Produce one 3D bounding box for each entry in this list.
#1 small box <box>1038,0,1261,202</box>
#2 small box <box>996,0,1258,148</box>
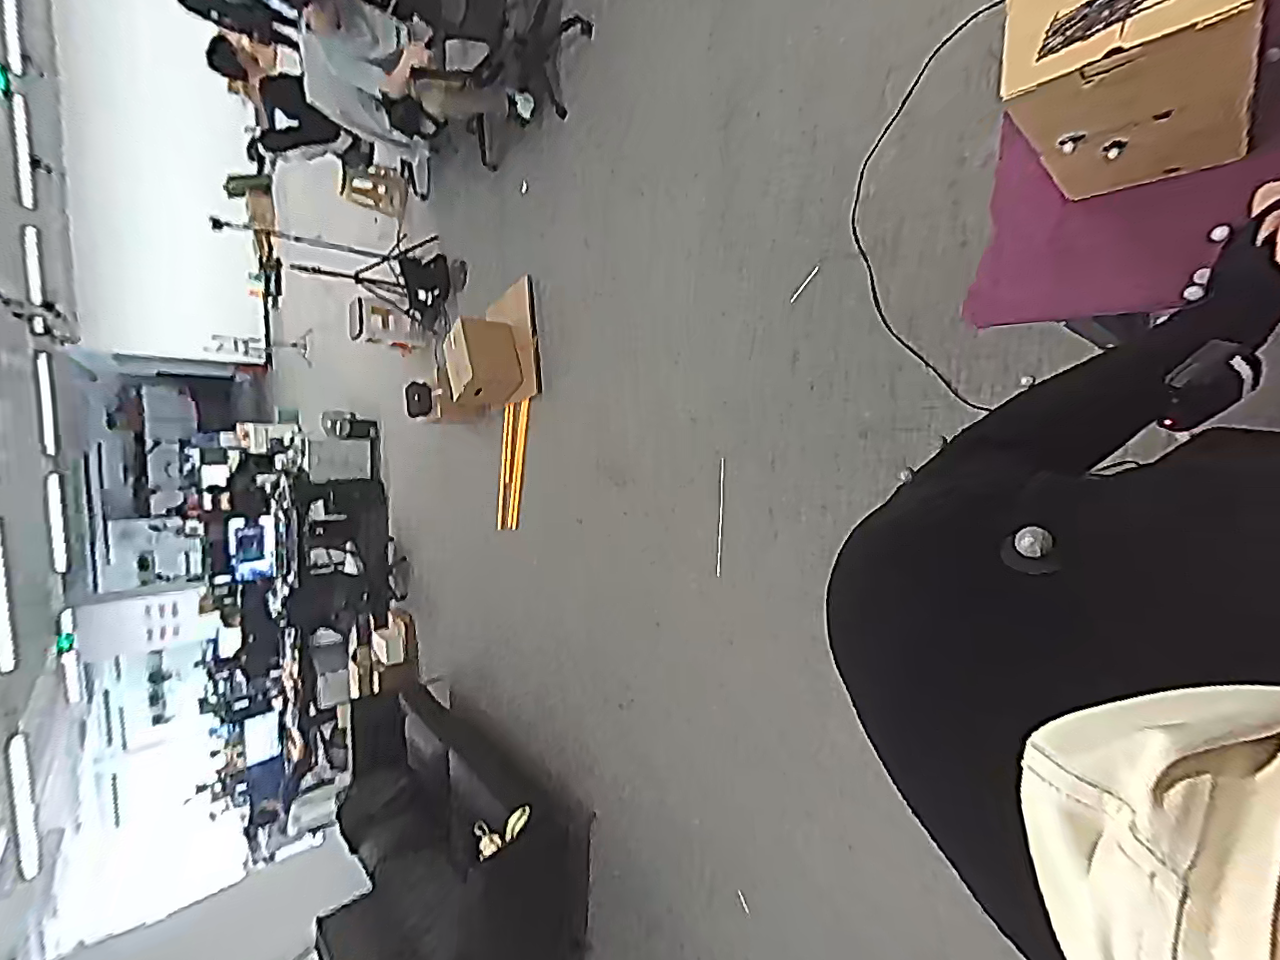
[{"bbox_3d":[0.583,-0.455,0.621,0.168,0.176,0.179,6,97,48],"label":"small box"},{"bbox_3d":[0.461,-0.446,0.510,0.168,0.176,0.179,6,97,48],"label":"small box"}]
